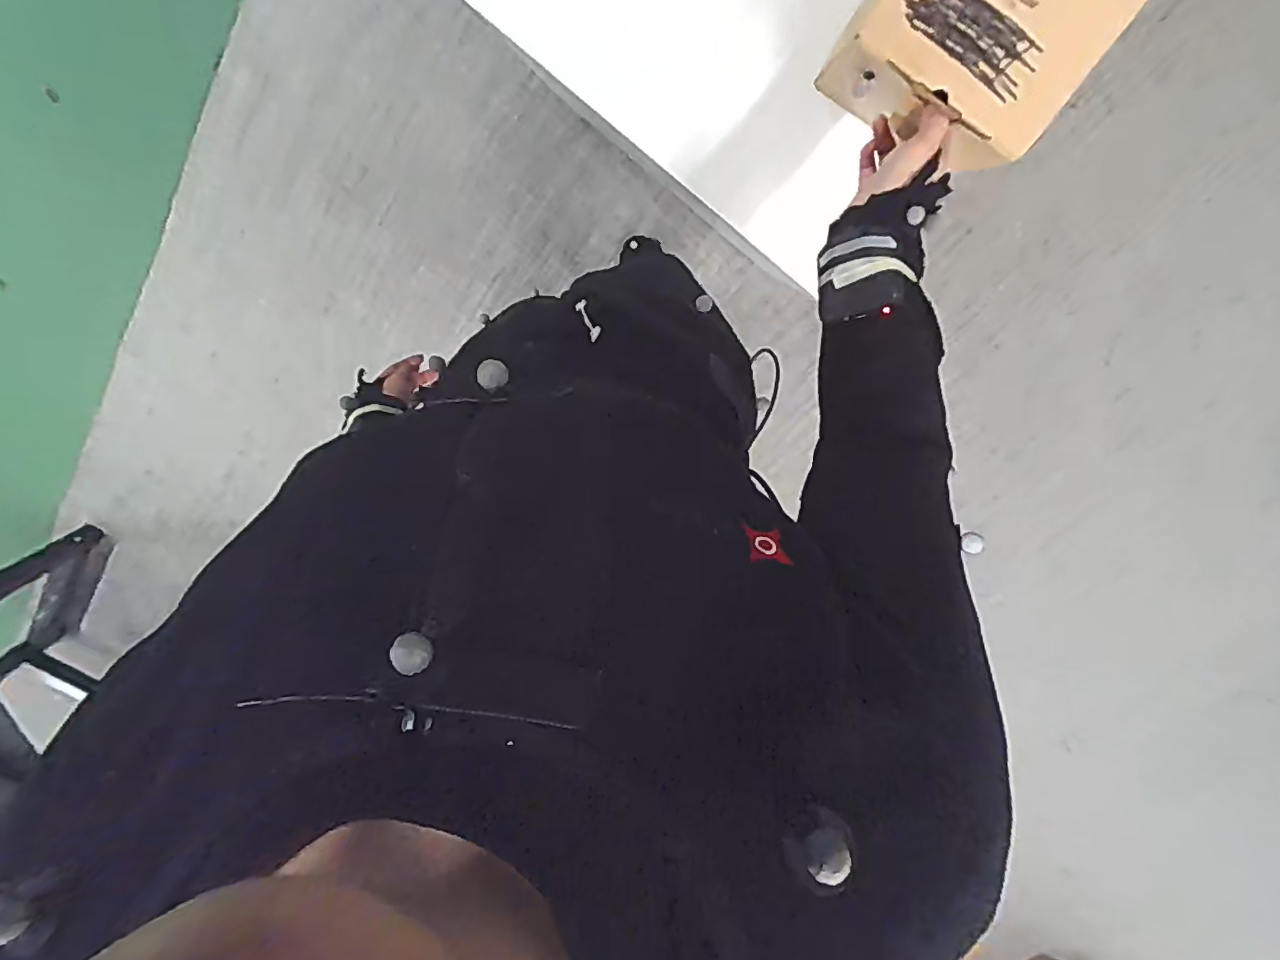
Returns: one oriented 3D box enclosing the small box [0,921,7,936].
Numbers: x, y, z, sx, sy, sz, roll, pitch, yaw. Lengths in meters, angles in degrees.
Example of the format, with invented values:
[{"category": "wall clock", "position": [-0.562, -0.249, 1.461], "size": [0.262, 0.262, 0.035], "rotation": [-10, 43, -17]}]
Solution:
[{"category": "small box", "position": [-1.485, 0.990, 1.111], "size": [0.168, 0.176, 0.179], "rotation": [41, 113, -14]}]
